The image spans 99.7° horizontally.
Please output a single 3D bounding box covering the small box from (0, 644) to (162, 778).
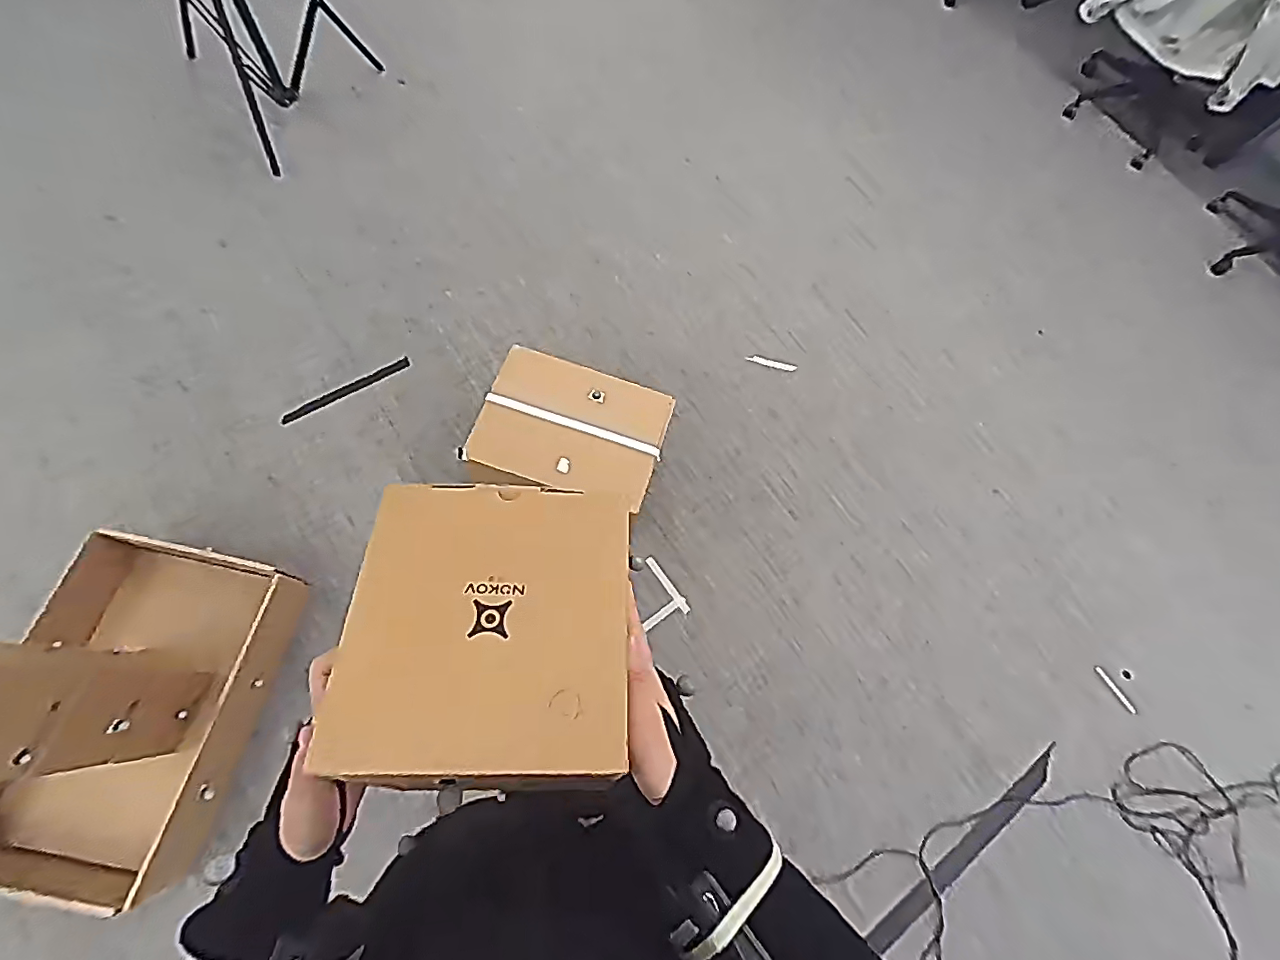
[{"bbox_3d":[-0.996,0.388,0.923,0.179,0.176,0.168,15,69,-3],"label":"small box"}]

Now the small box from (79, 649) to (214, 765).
[{"bbox_3d":[-1.015,0.445,1.073,0.179,0.176,0.168,16,69,-2],"label":"small box"}]

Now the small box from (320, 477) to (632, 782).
[{"bbox_3d":[-0.093,0.117,0.395,0.168,0.176,0.179,2,56,-6],"label":"small box"}]
